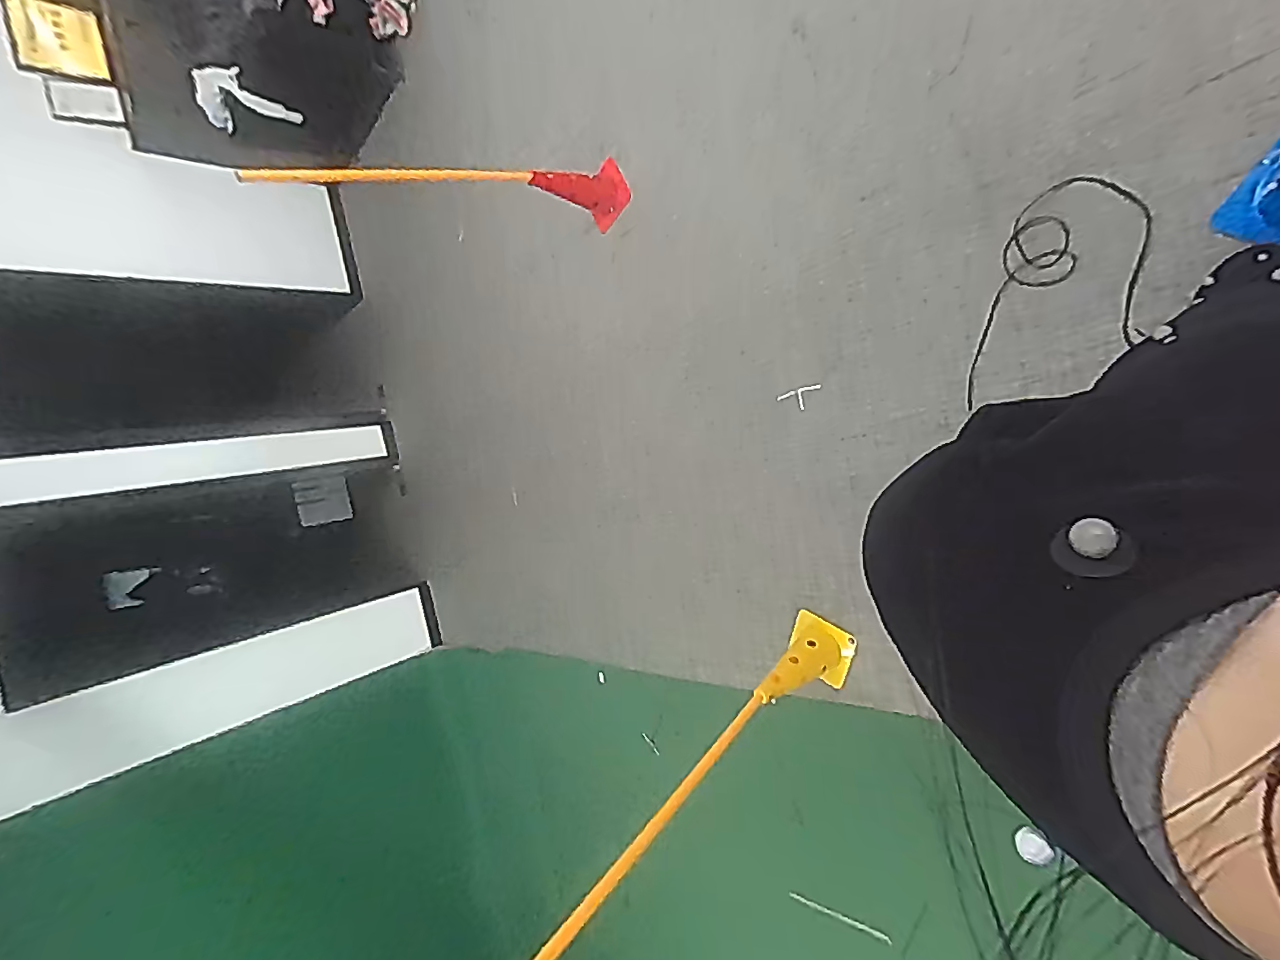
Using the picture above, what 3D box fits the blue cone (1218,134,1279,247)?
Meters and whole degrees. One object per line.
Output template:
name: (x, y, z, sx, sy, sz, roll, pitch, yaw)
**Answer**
blue cone: (1.021, -0.474, 0.790, 0.192, 0.380, 0.193, 43, 124, 31)
